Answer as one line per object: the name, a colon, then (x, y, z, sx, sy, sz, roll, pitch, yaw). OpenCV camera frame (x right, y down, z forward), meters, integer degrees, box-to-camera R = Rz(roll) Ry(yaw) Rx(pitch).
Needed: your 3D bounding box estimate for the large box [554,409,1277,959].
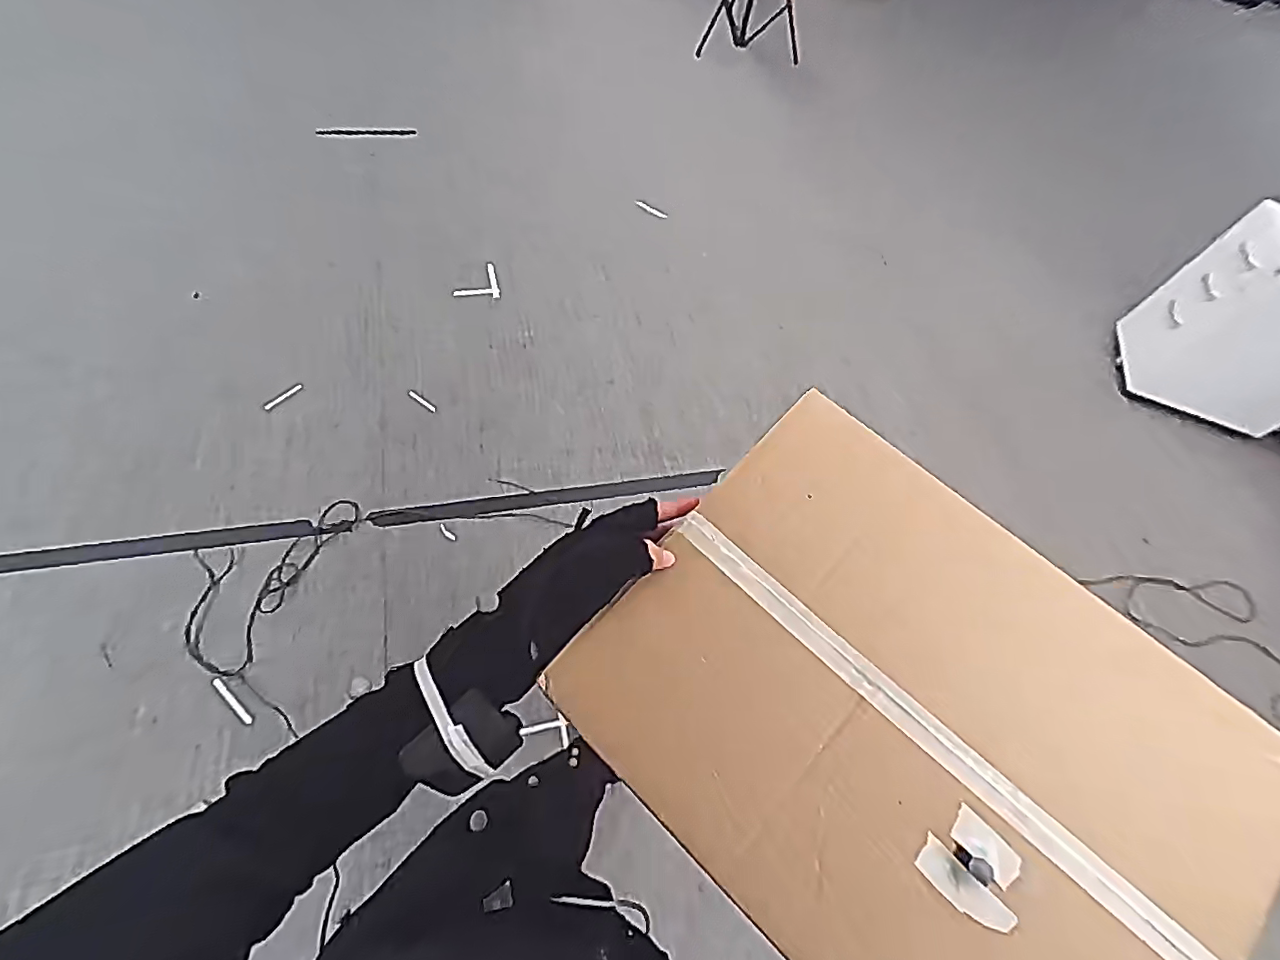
large box: (0.183, 0.216, 0.512, 0.408, 0.320, 0.320, 42, 76, 15)
